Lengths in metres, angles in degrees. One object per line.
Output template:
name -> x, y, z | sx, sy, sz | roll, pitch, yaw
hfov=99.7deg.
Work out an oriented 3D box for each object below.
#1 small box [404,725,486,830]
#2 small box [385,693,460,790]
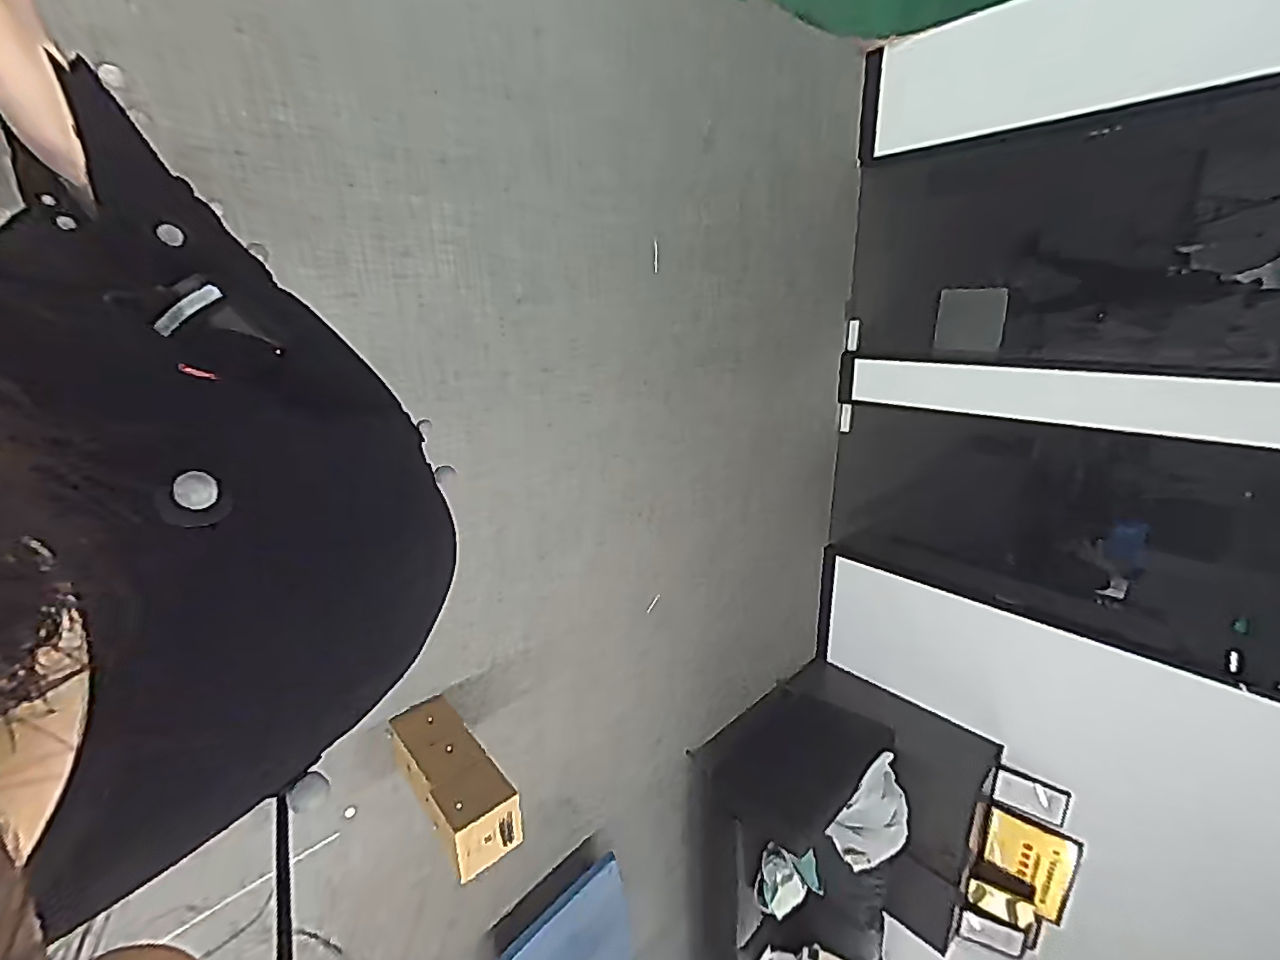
small box -> -0.561, 0.838, 1.549 | 0.168, 0.176, 0.179 | -16, 114, -40
small box -> -0.669, 0.797, 1.666 | 0.179, 0.176, 0.168 | -17, 115, -41
